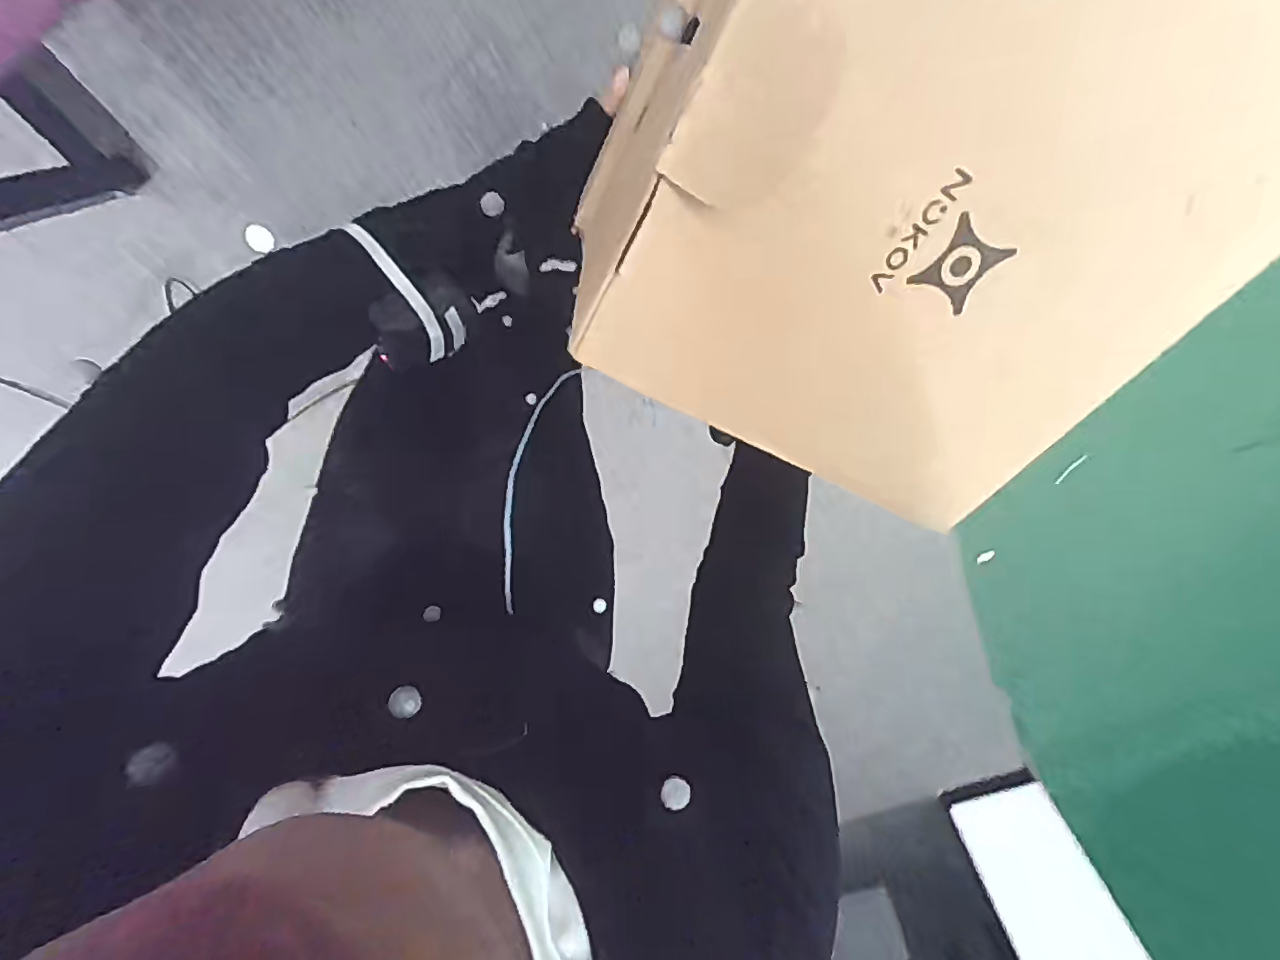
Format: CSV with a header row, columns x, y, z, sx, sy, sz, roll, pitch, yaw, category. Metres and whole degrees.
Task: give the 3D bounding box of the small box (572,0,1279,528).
x,y,z,sx,sy,sz,roll,pitch,yaw,category
0.088,-0.114,0.225,0.179,0.176,0.168,22,125,-19,small box
